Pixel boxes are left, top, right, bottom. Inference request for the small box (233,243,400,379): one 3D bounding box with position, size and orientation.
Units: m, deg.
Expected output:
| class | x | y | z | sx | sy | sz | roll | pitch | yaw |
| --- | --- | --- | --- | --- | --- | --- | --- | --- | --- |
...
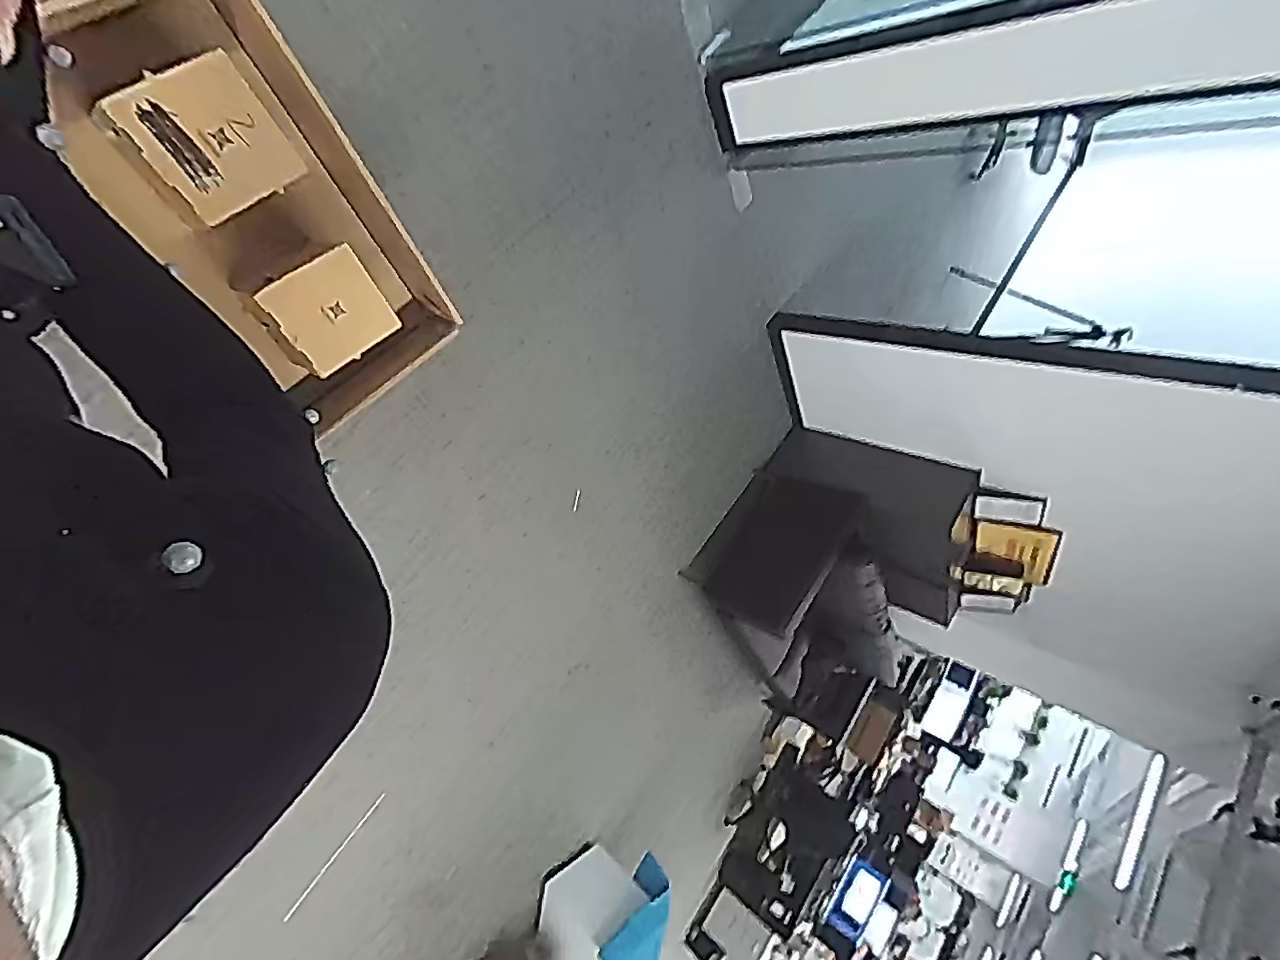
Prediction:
| class | x | y | z | sx | sy | sz | roll | pitch | yaw |
| --- | --- | --- | --- | --- | --- | --- | --- | --- | --- |
| small box | -0.585 | -0.312 | 0.978 | 0.179 | 0.176 | 0.168 | -46 | 136 | -23 |
